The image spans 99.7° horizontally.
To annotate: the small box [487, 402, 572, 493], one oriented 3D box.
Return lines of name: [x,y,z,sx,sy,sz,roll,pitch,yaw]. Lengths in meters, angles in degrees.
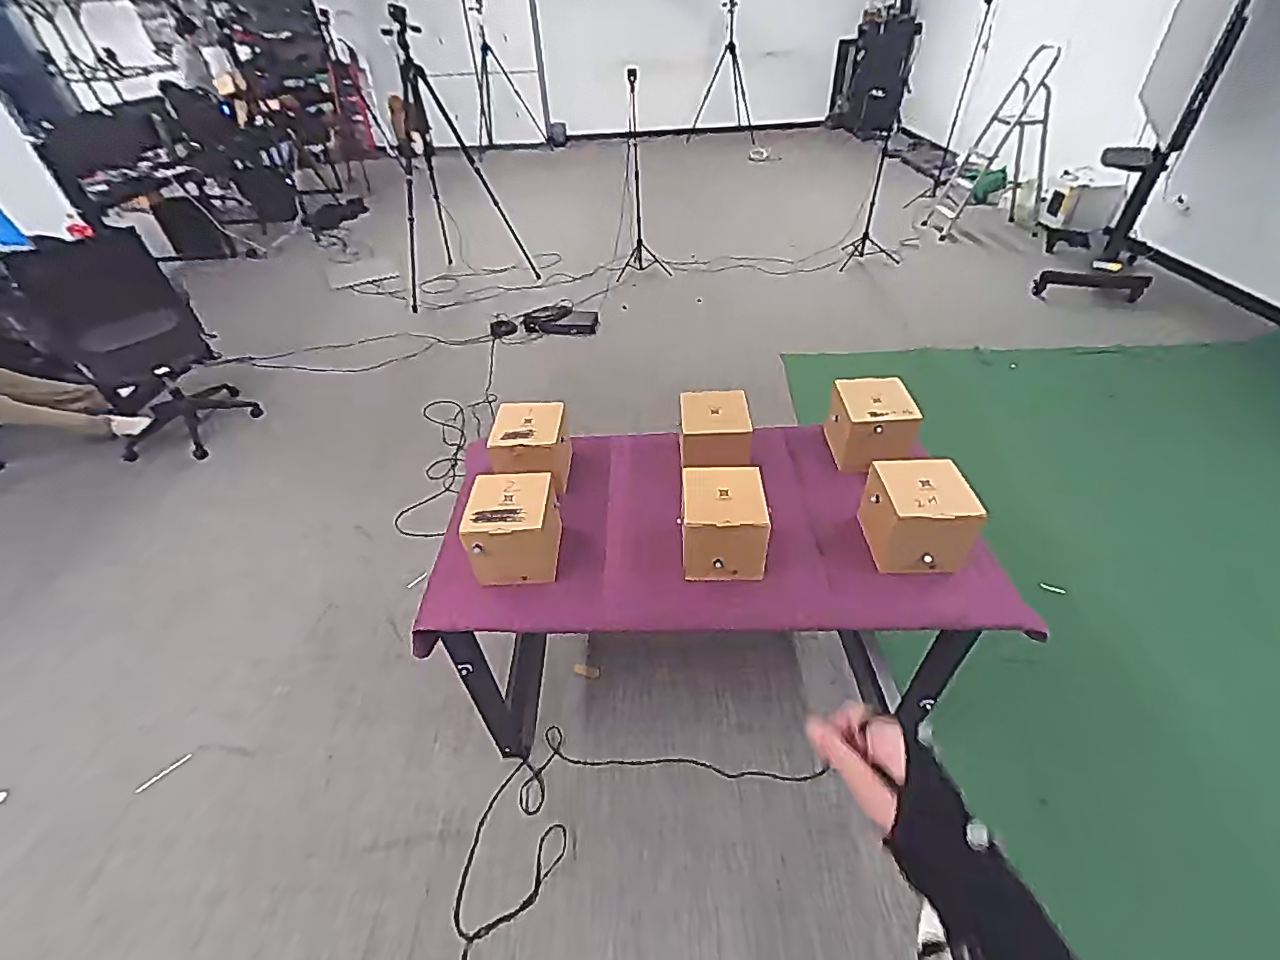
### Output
small box: [-0.271,-0.080,1.371,0.168,0.176,0.179,-1,42,2]

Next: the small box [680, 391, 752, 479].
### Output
small box: [0.186,-0.109,1.380,0.168,0.176,0.179,-1,43,3]

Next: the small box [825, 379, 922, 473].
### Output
small box: [0.583,-0.138,1.379,0.168,0.176,0.179,-3,43,4]

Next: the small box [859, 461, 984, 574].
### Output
small box: [0.578,0.076,1.140,0.168,0.176,0.179,-1,40,4]

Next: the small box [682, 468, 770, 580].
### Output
small box: [0.175,0.092,1.155,0.168,0.176,0.179,0,41,3]
